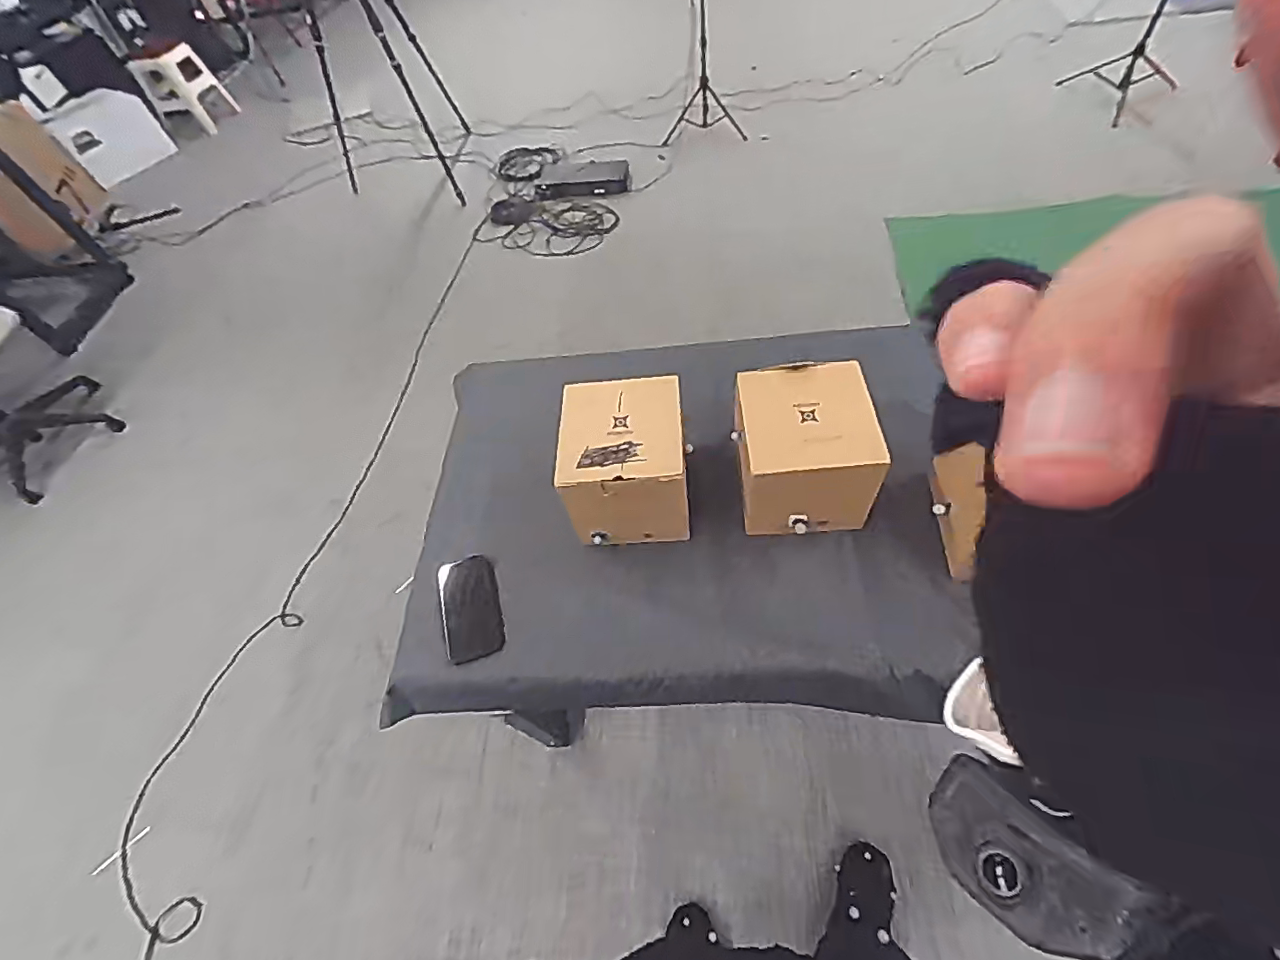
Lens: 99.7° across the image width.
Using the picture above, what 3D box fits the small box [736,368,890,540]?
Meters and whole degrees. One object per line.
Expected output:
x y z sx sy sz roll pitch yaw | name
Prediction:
0.230 -0.033 0.771 0.168 0.176 0.179 -5 57 6 | small box

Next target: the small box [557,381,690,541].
-0.015 -0.019 0.792 0.168 0.176 0.179 -4 54 5 | small box

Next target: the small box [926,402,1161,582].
0.492 0.021 0.695 0.168 0.176 0.179 1 56 9 | small box
